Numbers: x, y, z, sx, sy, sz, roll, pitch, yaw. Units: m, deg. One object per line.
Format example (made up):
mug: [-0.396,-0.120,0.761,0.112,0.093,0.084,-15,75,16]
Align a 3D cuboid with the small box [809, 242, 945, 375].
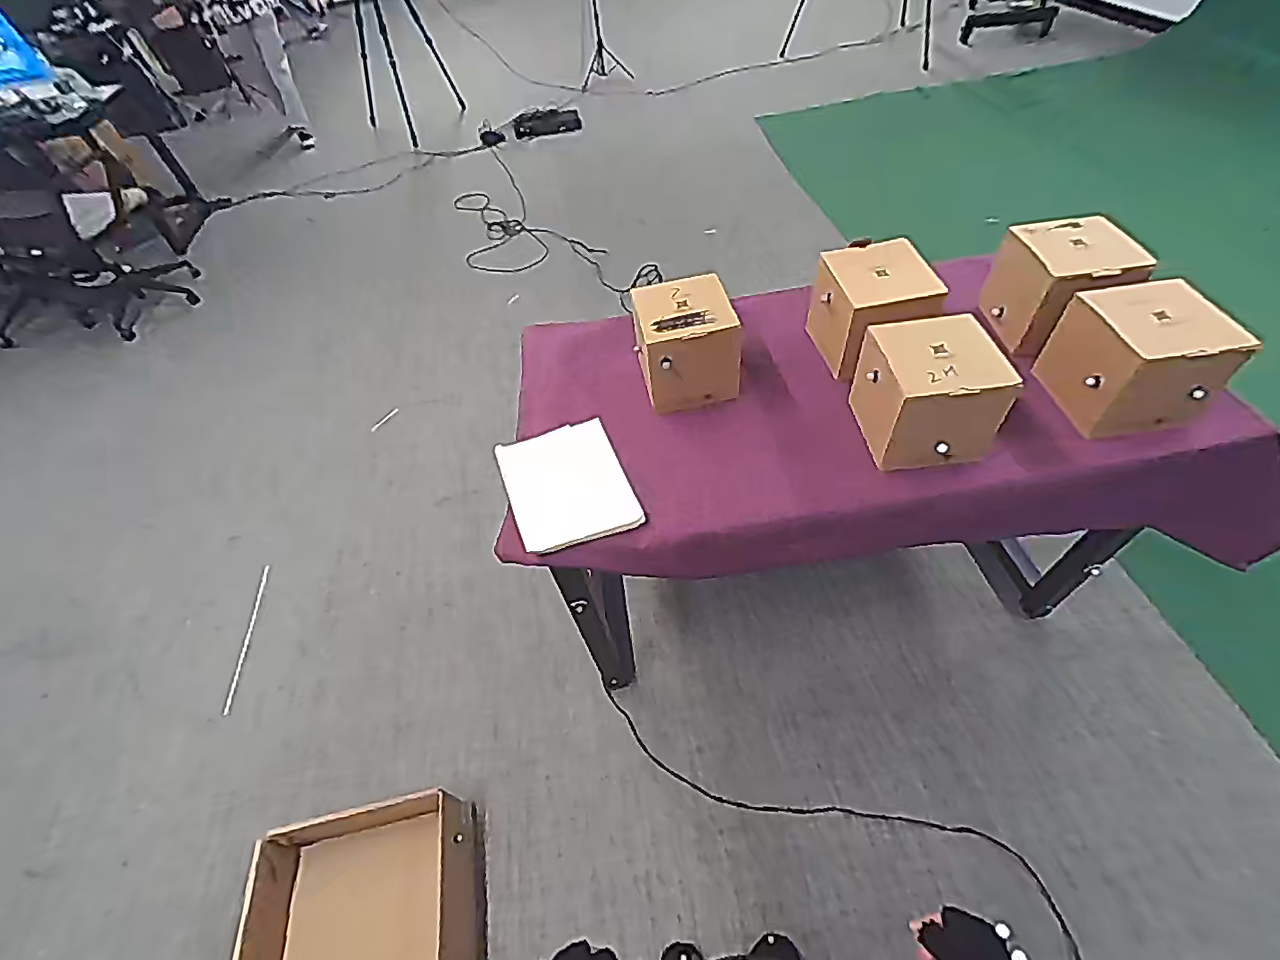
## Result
small box: [0.434,-0.316,1.023,0.168,0.176,0.179,-11,51,0]

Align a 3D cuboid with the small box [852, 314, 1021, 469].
small box: [0.461,-0.141,0.878,0.168,0.176,0.179,-7,51,3]

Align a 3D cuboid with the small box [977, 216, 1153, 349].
small box: [0.771,-0.359,1.007,0.168,0.176,0.179,-5,52,4]
